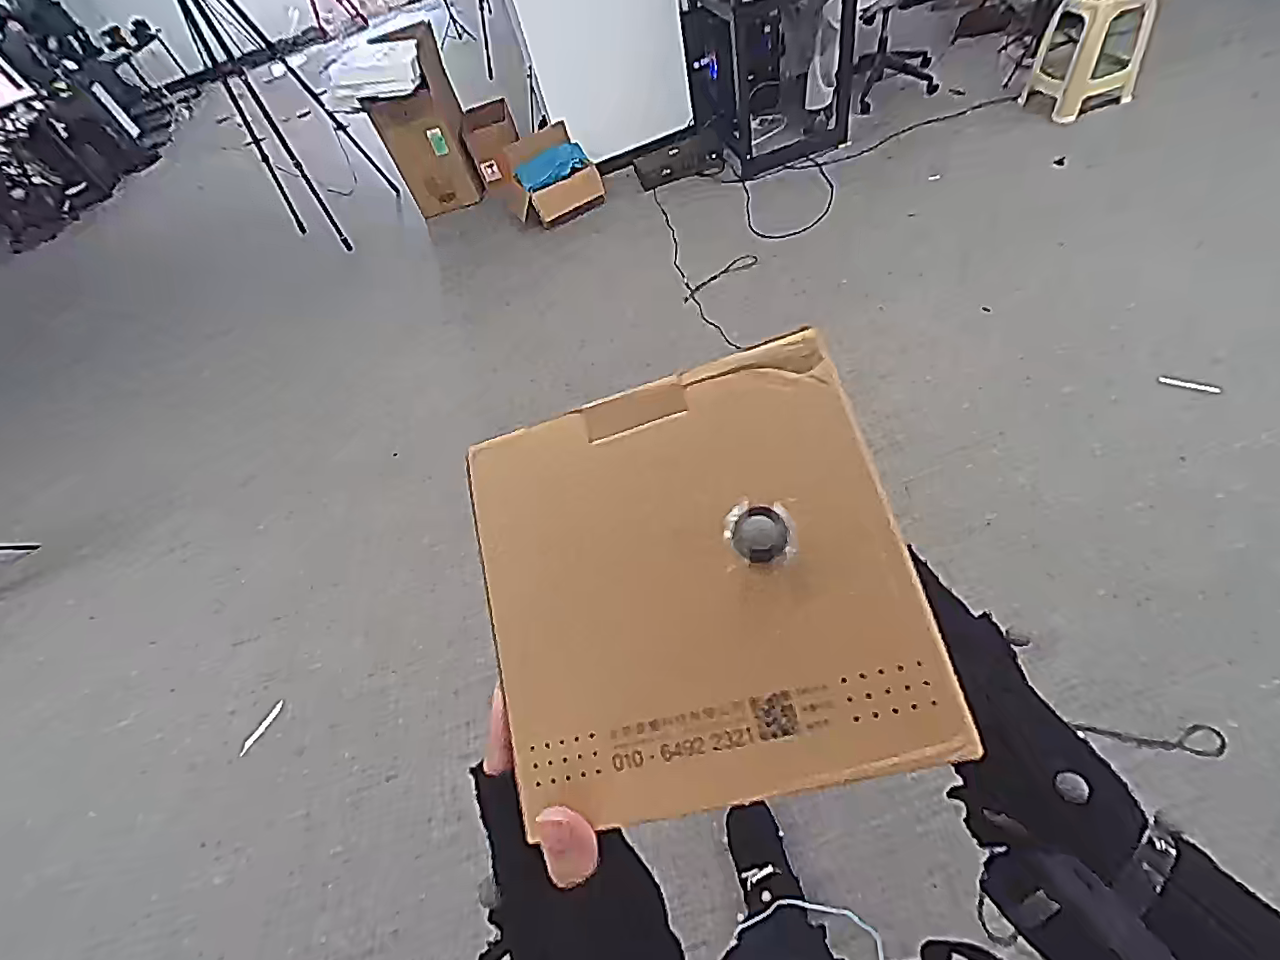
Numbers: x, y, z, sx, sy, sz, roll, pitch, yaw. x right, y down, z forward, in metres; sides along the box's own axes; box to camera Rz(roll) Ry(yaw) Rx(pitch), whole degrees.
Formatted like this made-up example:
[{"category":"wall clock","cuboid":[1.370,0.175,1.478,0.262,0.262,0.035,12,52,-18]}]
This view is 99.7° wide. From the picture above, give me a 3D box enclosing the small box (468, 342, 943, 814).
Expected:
[{"category":"small box","cuboid":[0.037,0.060,0.295,0.168,0.179,0.176,-18,73,13]}]
